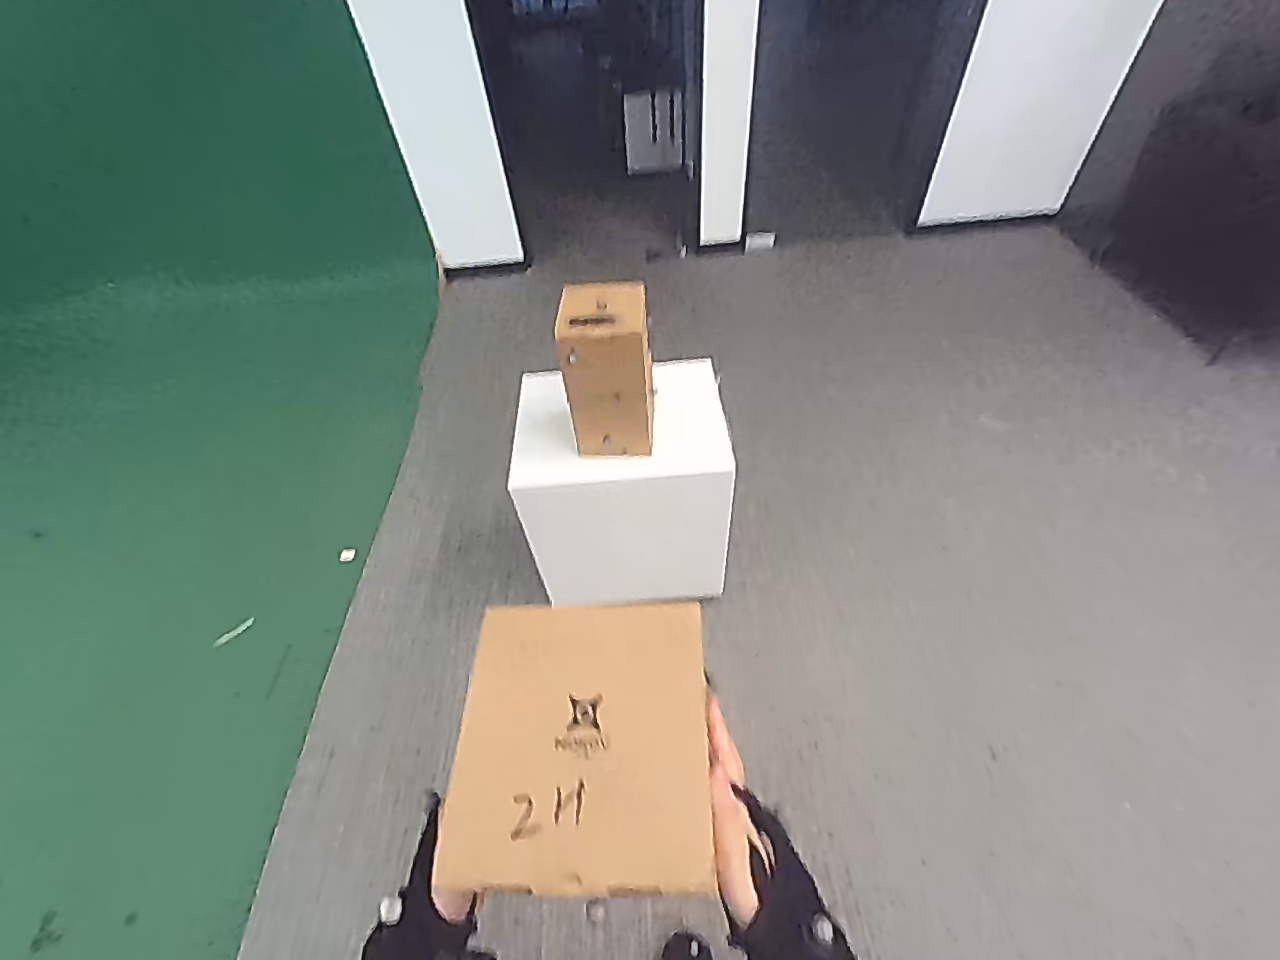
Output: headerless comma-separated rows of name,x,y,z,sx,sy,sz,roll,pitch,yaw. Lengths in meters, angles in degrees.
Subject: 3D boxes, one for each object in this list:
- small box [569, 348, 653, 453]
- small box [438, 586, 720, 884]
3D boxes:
small box,-0.058,-0.180,1.223,0.168,0.176,0.179,0,49,4
small box,-0.029,0.201,0.421,0.168,0.176,0.179,-4,52,5
